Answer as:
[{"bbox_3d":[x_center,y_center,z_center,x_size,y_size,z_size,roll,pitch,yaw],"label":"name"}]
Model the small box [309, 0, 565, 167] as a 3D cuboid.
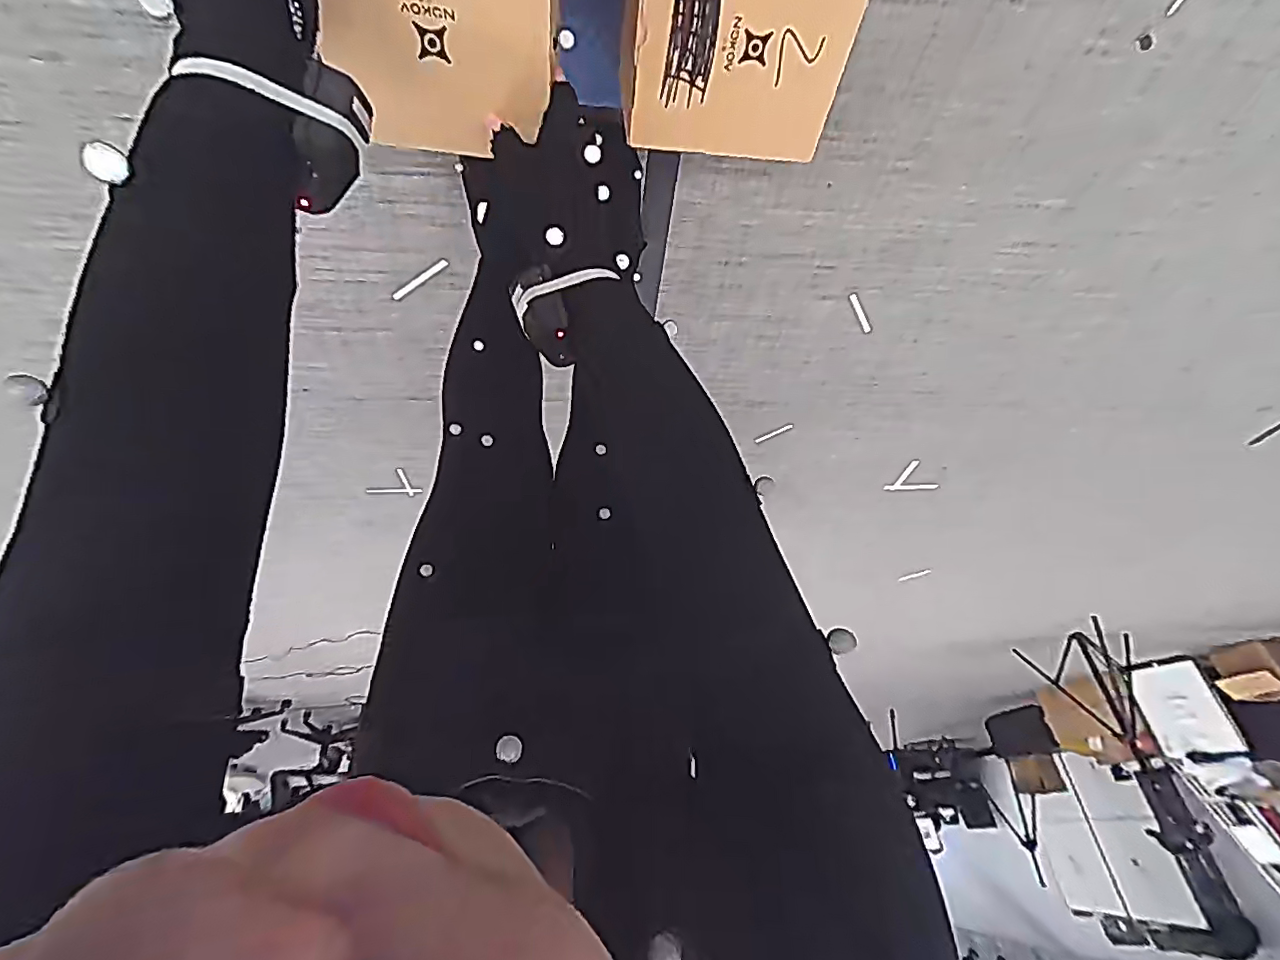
[{"bbox_3d":[-0.145,-0.387,0.421,0.168,0.176,0.179,3,149,-8],"label":"small box"}]
